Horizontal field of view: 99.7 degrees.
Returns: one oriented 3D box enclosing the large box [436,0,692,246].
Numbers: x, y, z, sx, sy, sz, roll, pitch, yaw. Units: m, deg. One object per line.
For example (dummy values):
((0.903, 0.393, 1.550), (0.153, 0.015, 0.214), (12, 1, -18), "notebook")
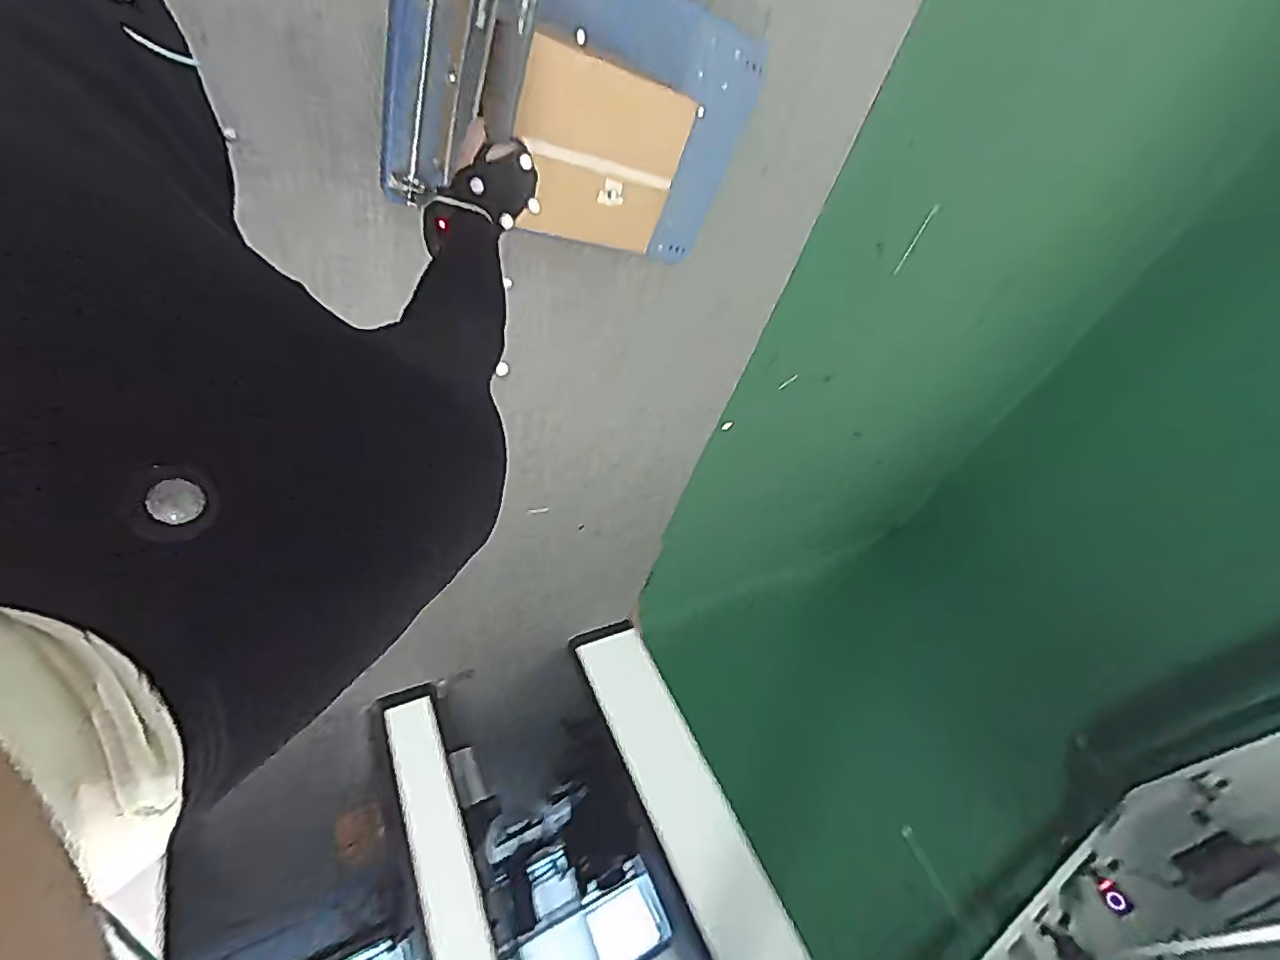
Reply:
((-0.178, -0.737, 1.137), (0.408, 0.320, 0.320), (-5, 138, -35), "large box")
